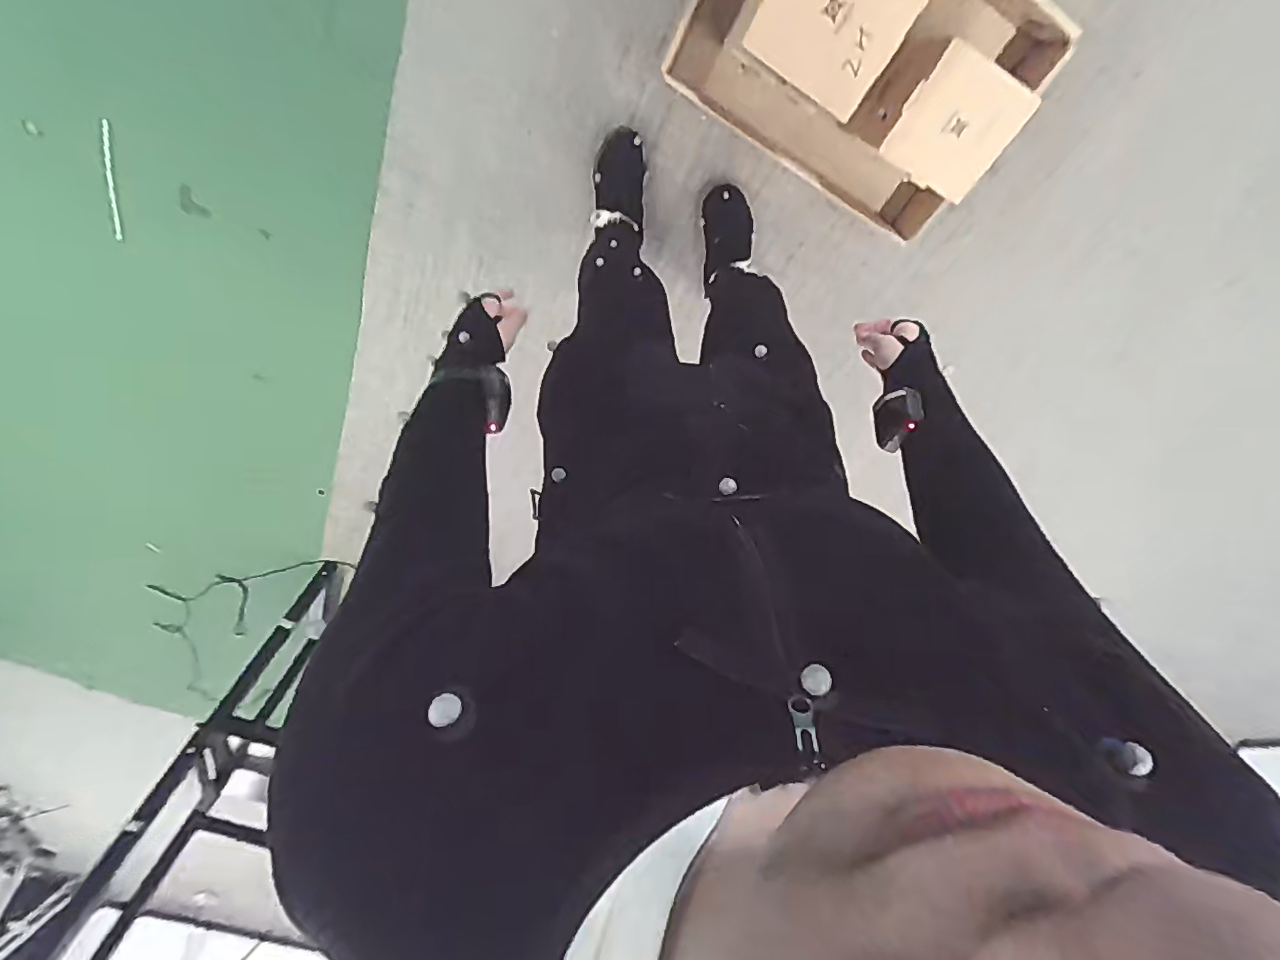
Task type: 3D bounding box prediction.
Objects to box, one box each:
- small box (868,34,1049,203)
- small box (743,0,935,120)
[{"bbox_3d":[0.514,-0.602,0.905,0.179,0.176,0.168,25,129,-12],"label":"small box"},{"bbox_3d":[0.253,-0.616,0.716,0.179,0.176,0.168,26,126,-14],"label":"small box"}]
